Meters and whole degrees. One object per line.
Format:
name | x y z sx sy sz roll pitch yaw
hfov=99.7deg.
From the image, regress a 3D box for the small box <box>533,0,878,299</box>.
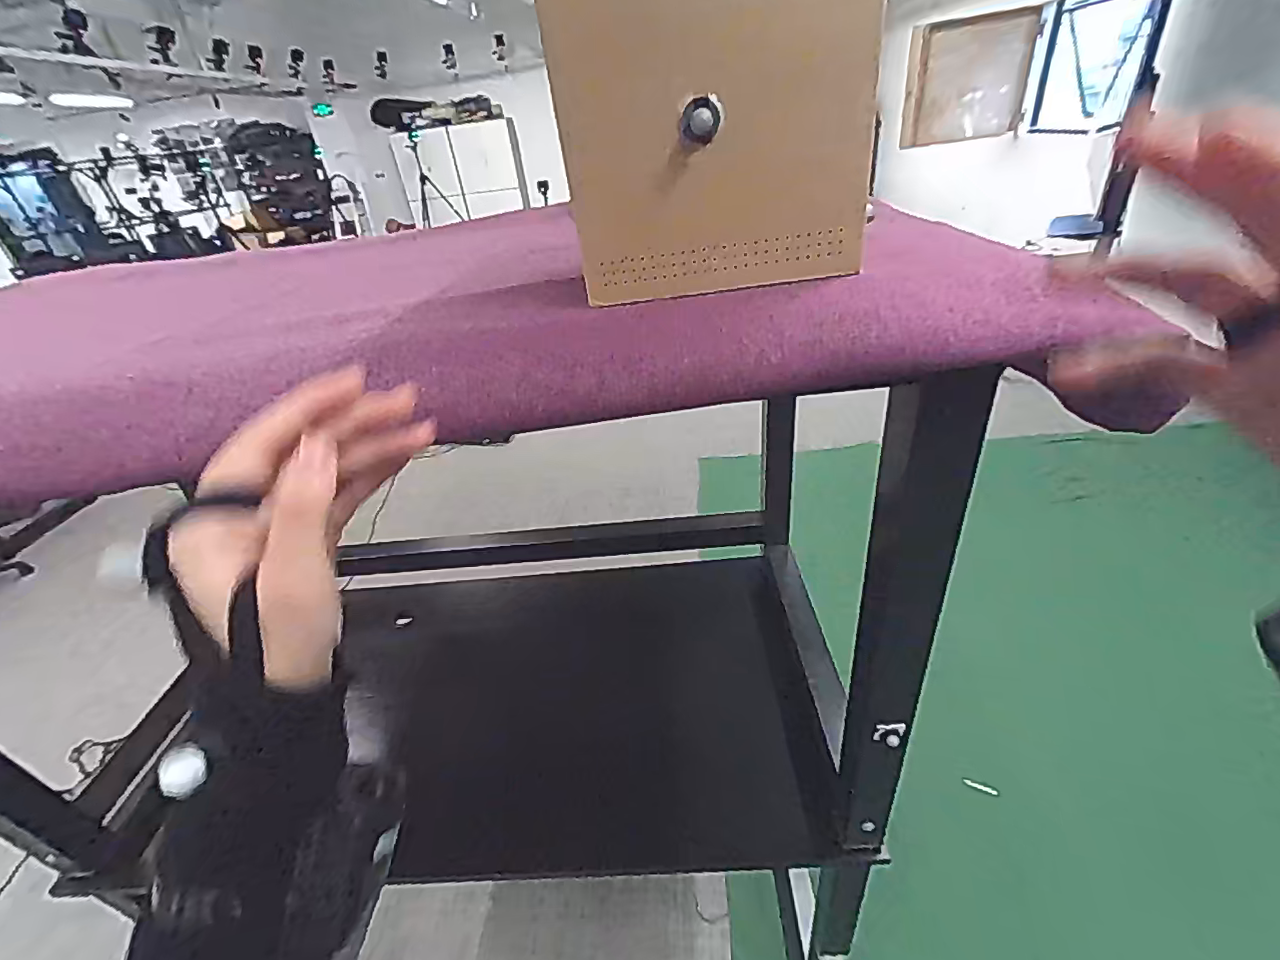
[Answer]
small box | 0.044 -0.236 0.367 0.179 0.176 0.168 -6 33 6
